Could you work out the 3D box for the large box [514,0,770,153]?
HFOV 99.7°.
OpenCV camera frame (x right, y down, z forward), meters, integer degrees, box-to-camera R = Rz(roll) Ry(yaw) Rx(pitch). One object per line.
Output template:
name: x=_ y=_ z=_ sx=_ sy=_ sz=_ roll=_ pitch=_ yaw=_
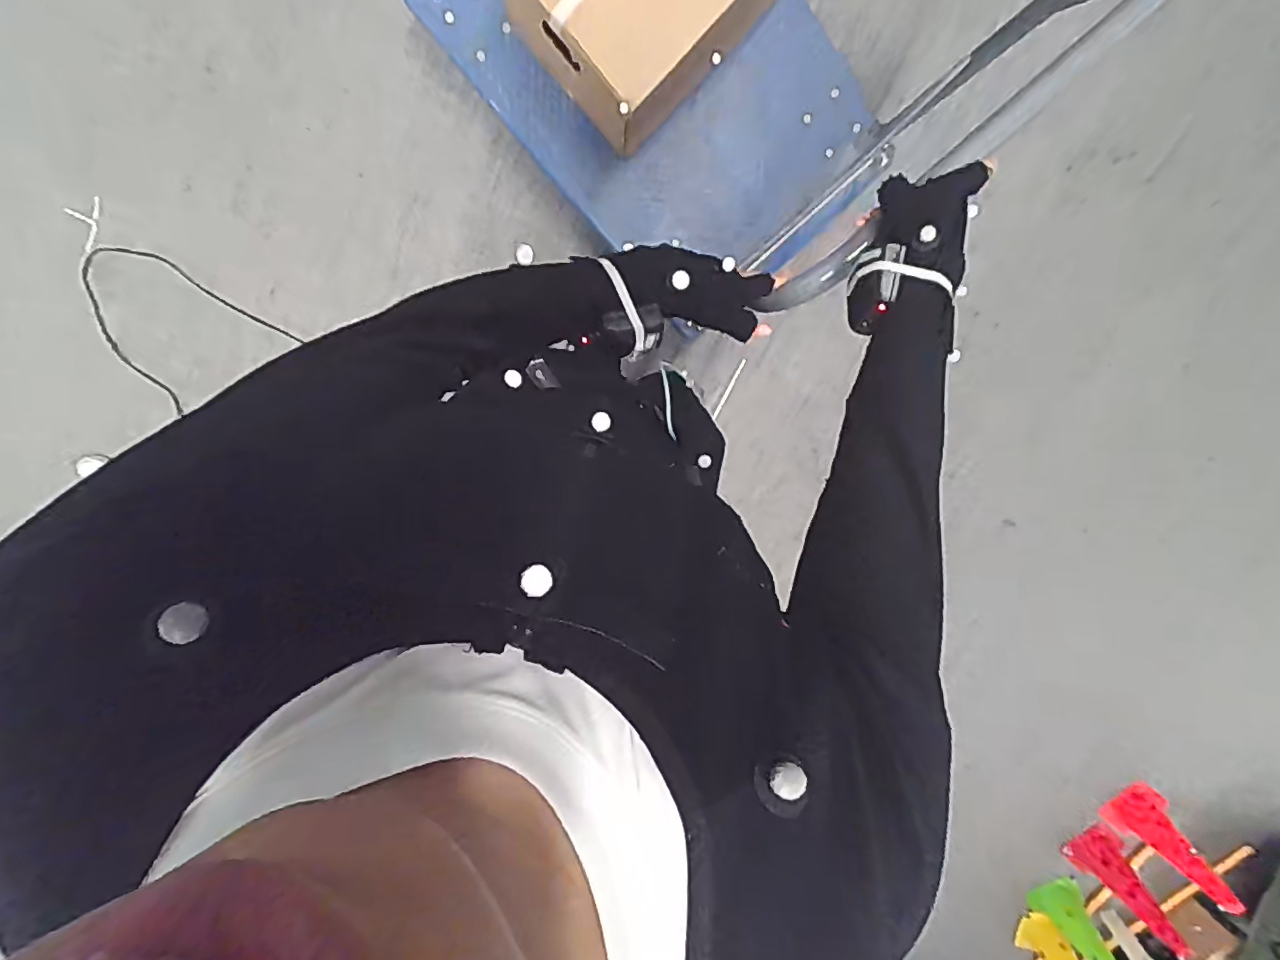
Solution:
large box: x=0.029 y=-0.845 z=0.886 sx=0.408 sy=0.320 sz=0.320 roll=-43 pitch=105 yaw=12
